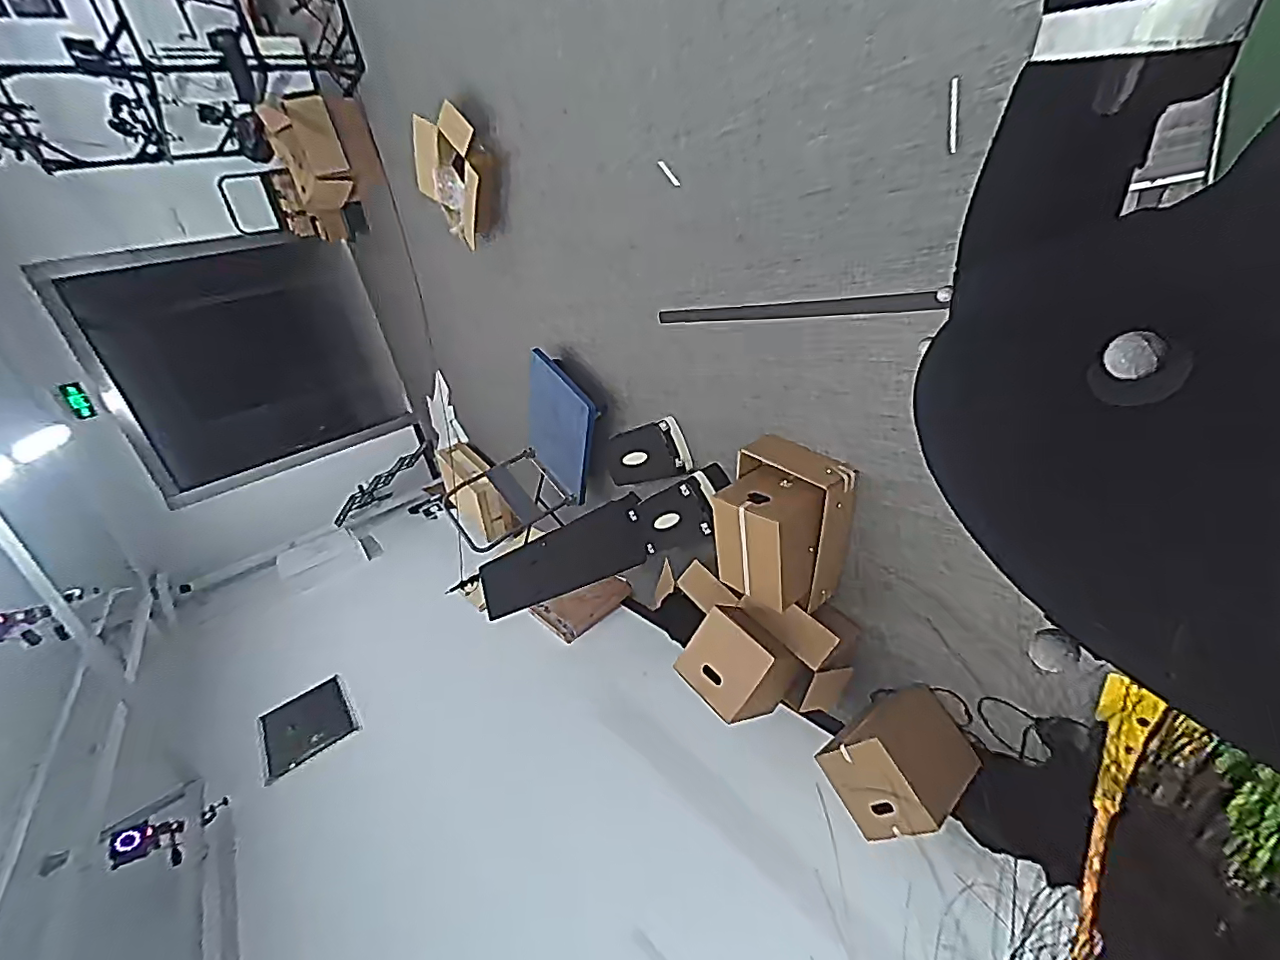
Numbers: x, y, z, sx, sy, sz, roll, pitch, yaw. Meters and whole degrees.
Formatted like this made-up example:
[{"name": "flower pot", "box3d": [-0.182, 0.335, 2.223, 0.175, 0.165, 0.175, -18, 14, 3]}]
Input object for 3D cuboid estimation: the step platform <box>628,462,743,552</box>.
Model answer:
[{"name": "step platform", "box3d": [0.197, 0.153, 2.673, 0.286, 0.204, 0.684, 61, 149, 2]}]
